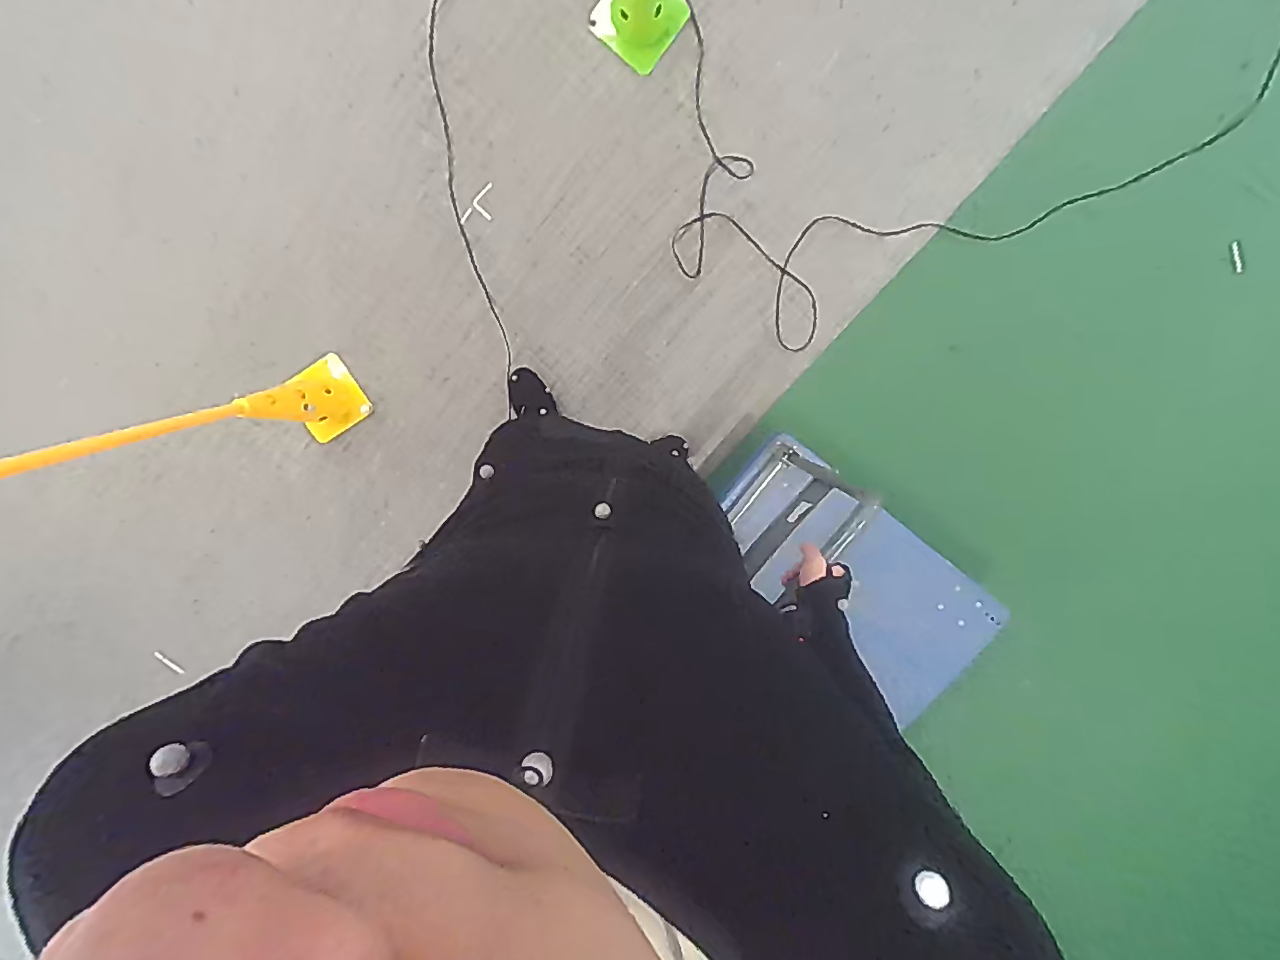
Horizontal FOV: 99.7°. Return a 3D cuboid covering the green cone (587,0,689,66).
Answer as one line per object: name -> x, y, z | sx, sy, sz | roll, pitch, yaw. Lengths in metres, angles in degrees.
green cone -> -0.001, -1.155, 1.195 | 0.200, 0.368, 0.202 | 37, 98, -8
